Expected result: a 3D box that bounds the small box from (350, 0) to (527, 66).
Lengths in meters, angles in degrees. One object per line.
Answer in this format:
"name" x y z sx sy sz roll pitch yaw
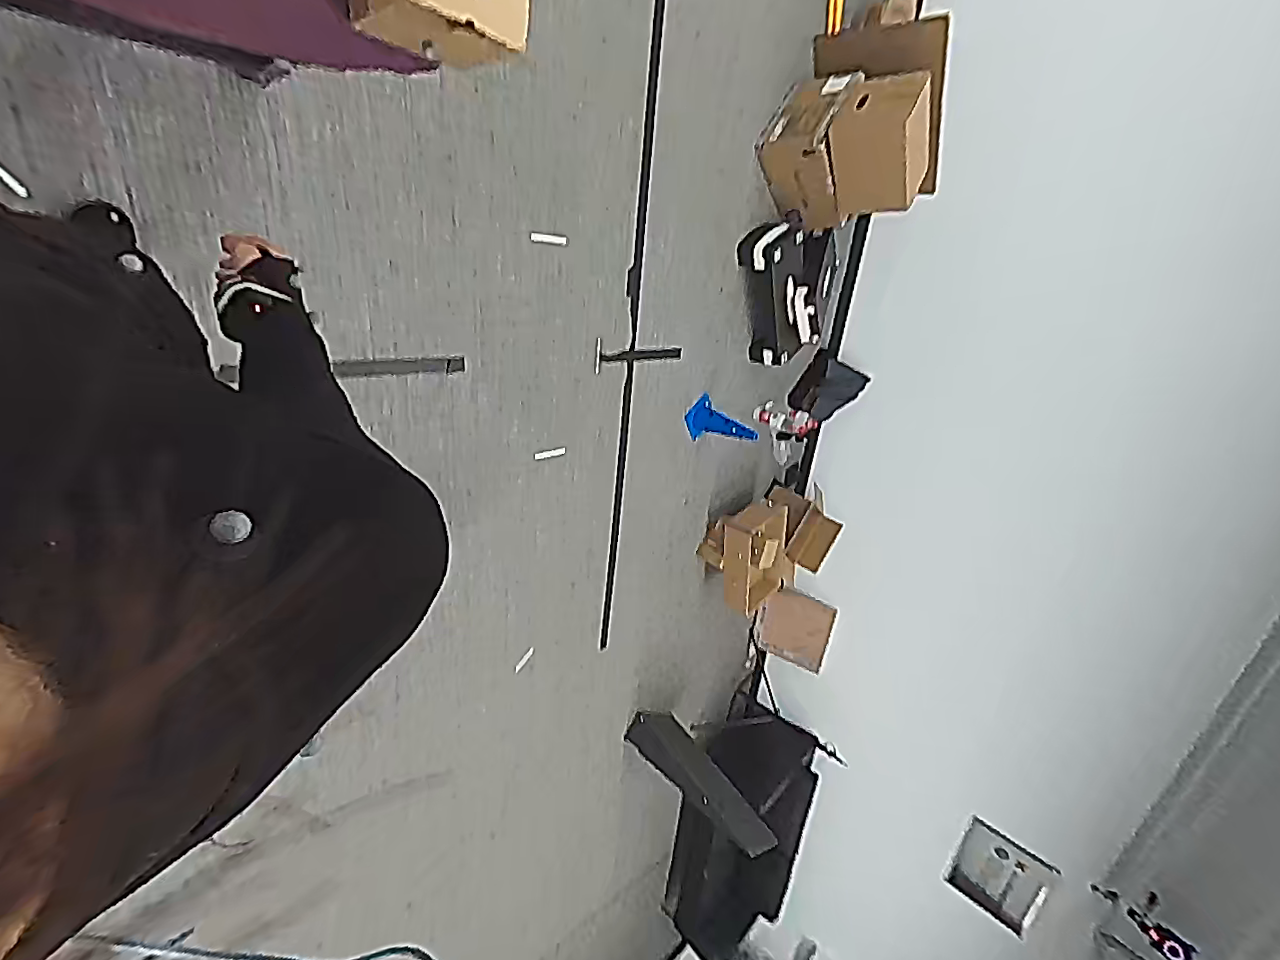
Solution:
"small box" -0.256 -0.665 0.683 0.168 0.176 0.179 -12 118 -45
